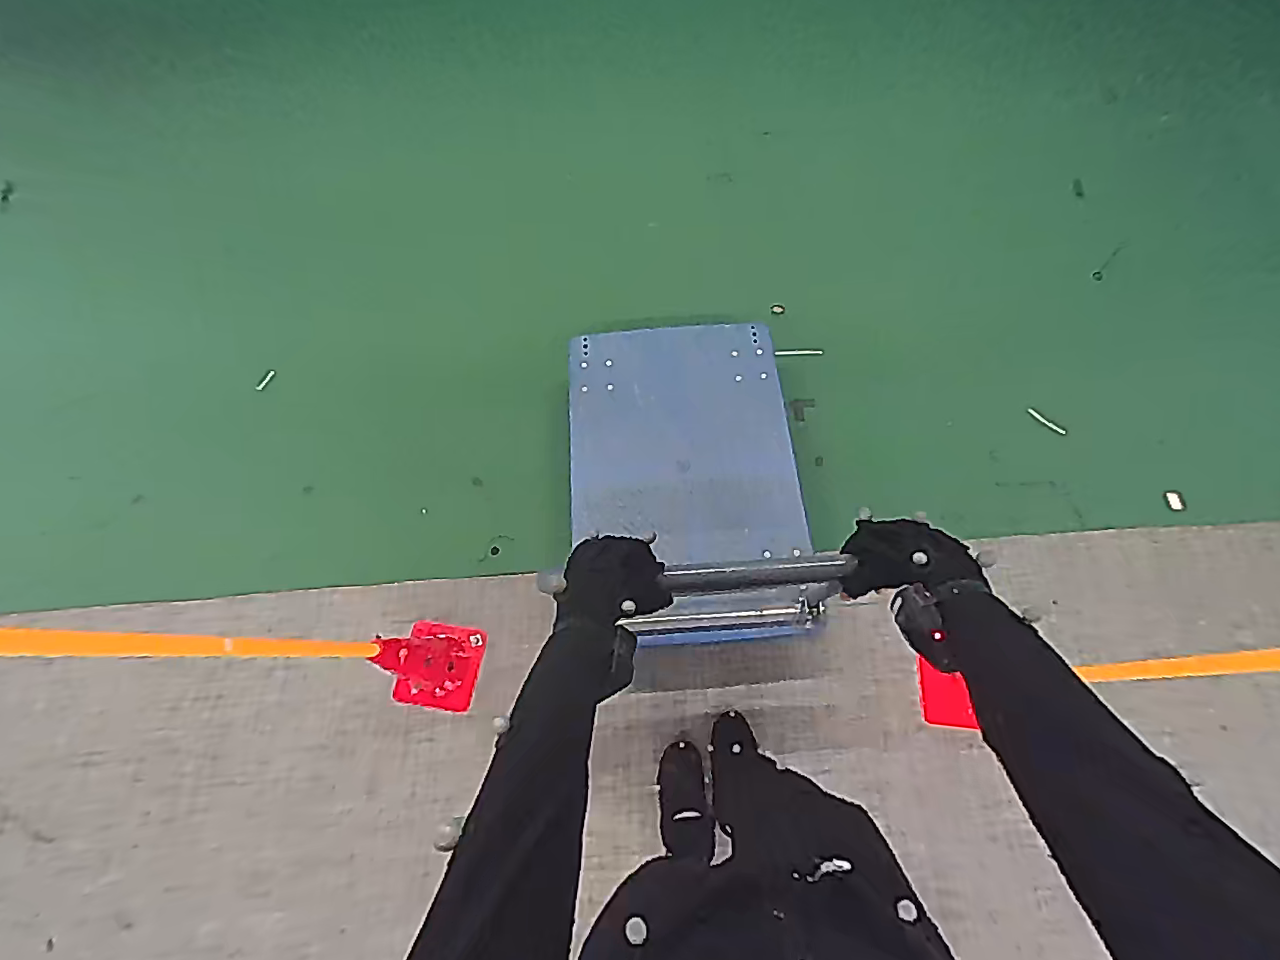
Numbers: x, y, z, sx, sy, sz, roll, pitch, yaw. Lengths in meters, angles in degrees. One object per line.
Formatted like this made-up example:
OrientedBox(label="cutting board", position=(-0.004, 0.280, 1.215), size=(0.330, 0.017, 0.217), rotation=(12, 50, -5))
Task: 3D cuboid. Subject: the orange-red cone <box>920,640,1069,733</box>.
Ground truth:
OrientedBox(label="orange-red cone", position=(0.781, 0.433, 1.159), size=(0.198, 0.360, 0.199), rotation=(6, 67, 5))
